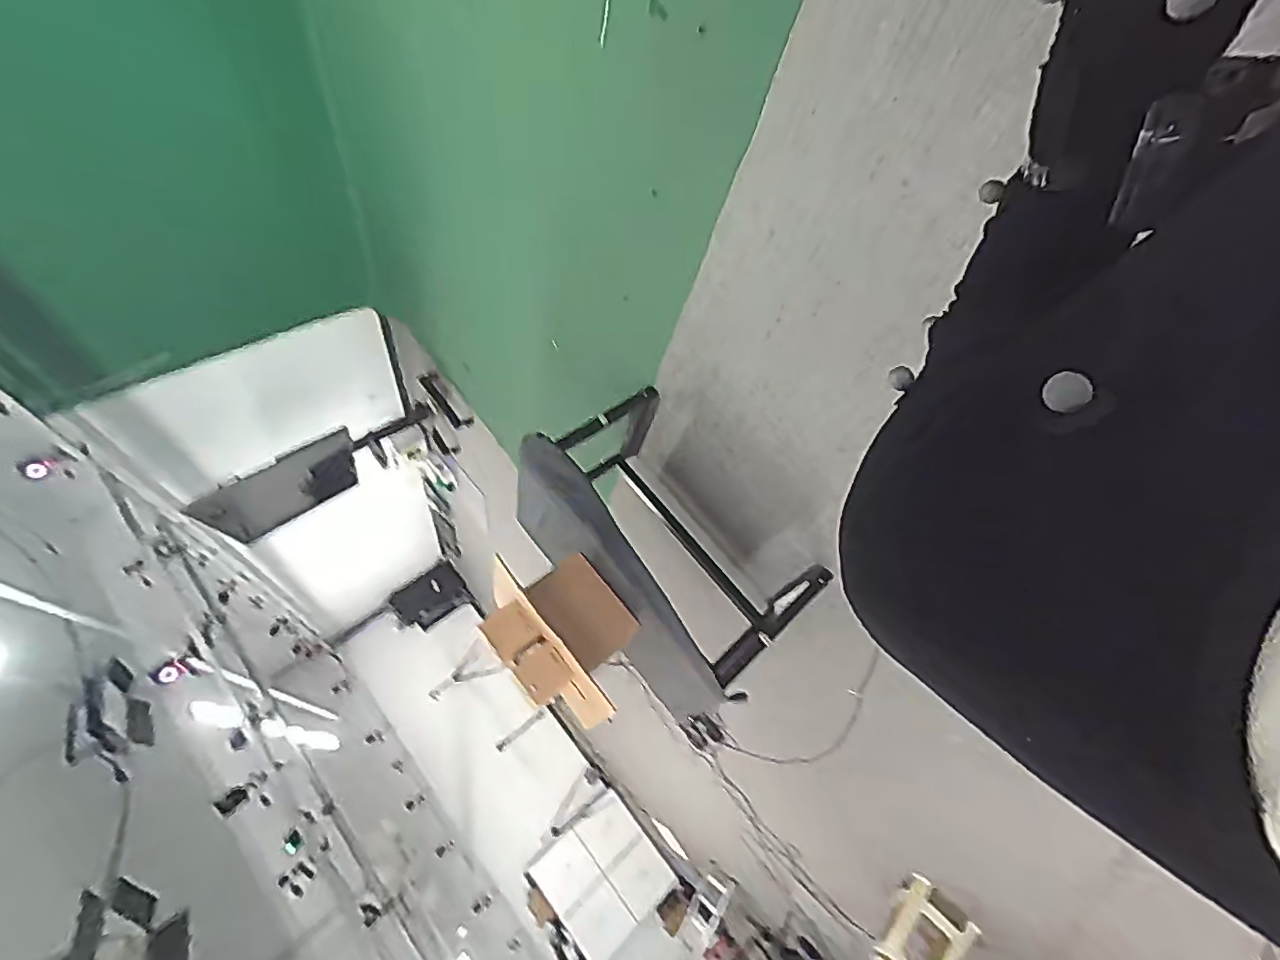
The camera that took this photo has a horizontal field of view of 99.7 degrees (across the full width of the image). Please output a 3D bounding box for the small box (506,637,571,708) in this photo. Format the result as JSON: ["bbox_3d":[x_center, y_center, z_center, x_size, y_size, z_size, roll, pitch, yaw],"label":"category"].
[{"bbox_3d":[-0.373,0.707,1.987,0.168,0.176,0.179,48,151,13],"label":"small box"}]
